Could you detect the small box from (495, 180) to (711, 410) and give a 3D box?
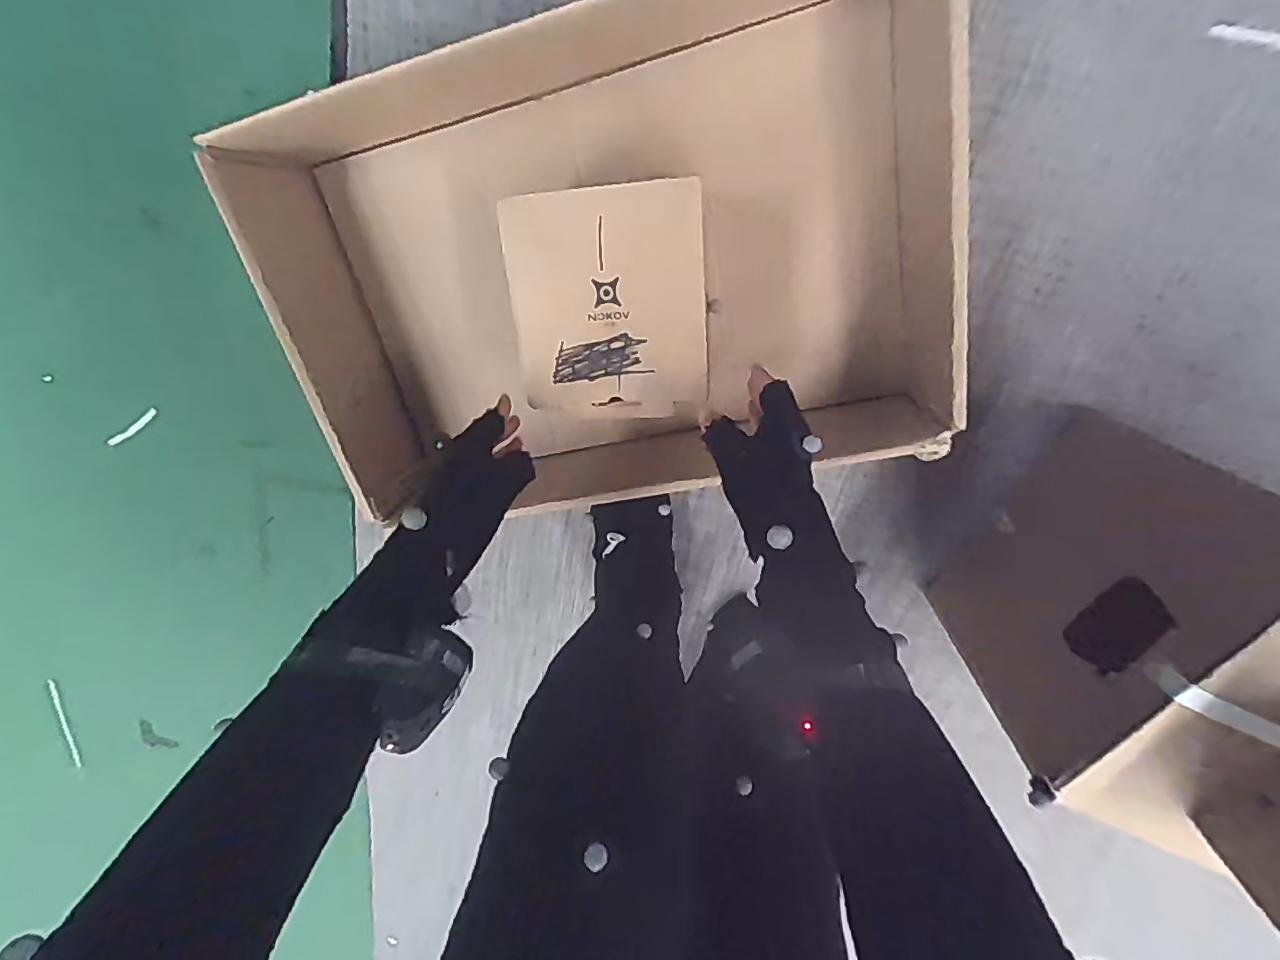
[{"bbox_3d":[-0.018,-0.178,0.523,0.168,0.176,0.179,-2,113,9],"label":"small box"}]

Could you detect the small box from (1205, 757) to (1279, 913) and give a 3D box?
[{"bbox_3d":[0.580,0.289,0.372,0.179,0.176,0.168,19,117,-1],"label":"small box"}]
